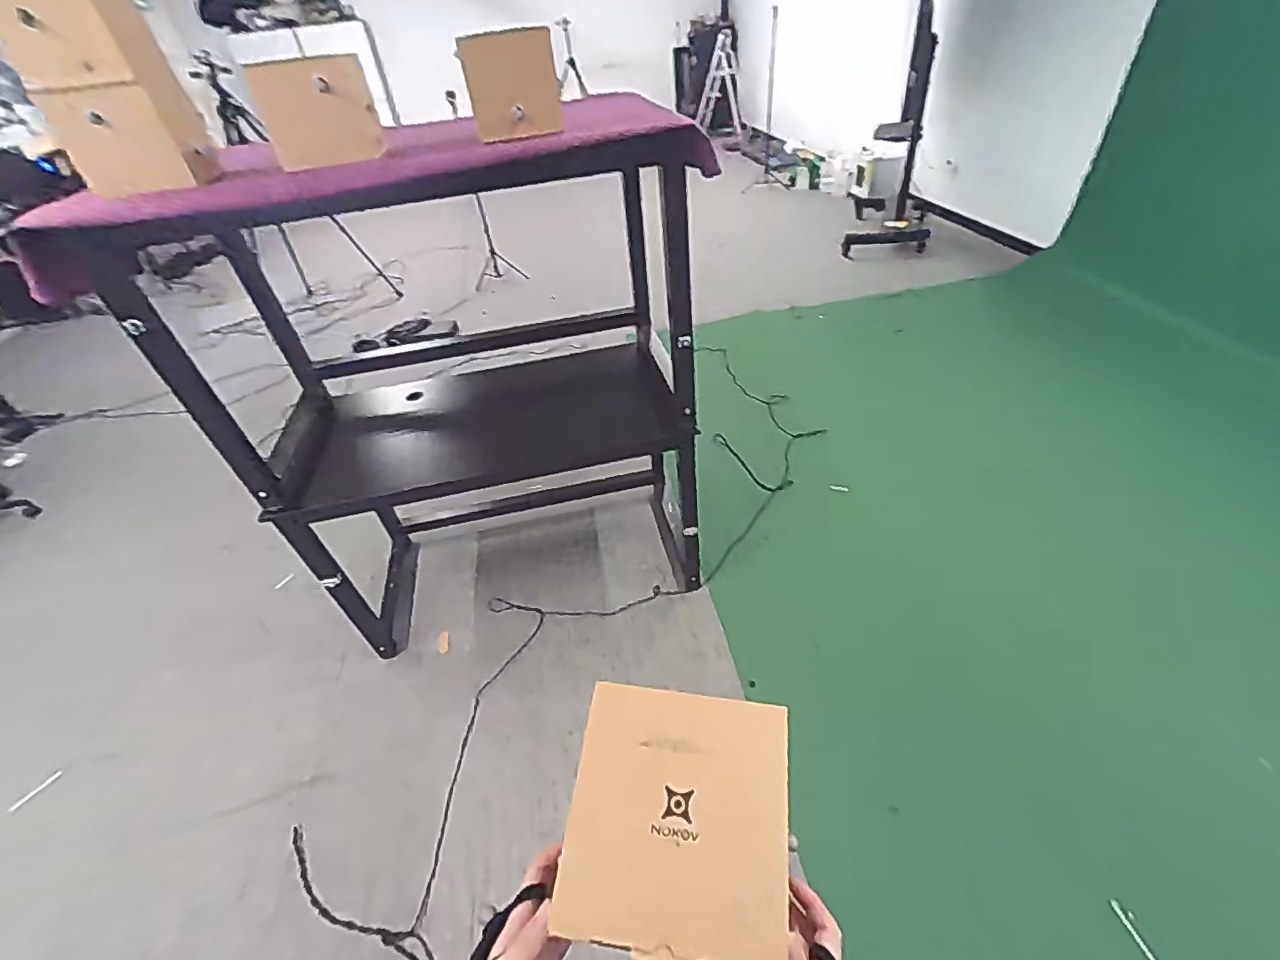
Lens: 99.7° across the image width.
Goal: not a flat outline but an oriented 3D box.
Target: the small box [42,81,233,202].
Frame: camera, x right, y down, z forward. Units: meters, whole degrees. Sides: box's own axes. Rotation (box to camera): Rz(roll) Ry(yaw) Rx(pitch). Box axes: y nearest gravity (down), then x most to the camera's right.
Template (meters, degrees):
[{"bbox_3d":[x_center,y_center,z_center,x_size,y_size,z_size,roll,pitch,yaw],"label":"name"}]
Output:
[{"bbox_3d":[-0.938,-0.645,1.032,0.179,0.176,0.168,-13,41,-8],"label":"small box"}]

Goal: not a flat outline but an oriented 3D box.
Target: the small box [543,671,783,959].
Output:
[{"bbox_3d":[0.031,0.291,0.474,0.168,0.176,0.179,5,53,9],"label":"small box"}]

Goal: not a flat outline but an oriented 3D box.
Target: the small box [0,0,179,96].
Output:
[{"bbox_3d":[-0.954,-0.770,0.930,0.168,0.176,0.179,-14,40,-8],"label":"small box"}]

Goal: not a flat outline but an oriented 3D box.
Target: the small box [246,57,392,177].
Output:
[{"bbox_3d":[-0.617,-0.719,1.070,0.179,0.176,0.168,-11,40,-4],"label":"small box"}]

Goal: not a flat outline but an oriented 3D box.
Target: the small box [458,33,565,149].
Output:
[{"bbox_3d":[-0.252,-0.790,1.099,0.179,0.176,0.168,-11,39,-5],"label":"small box"}]
